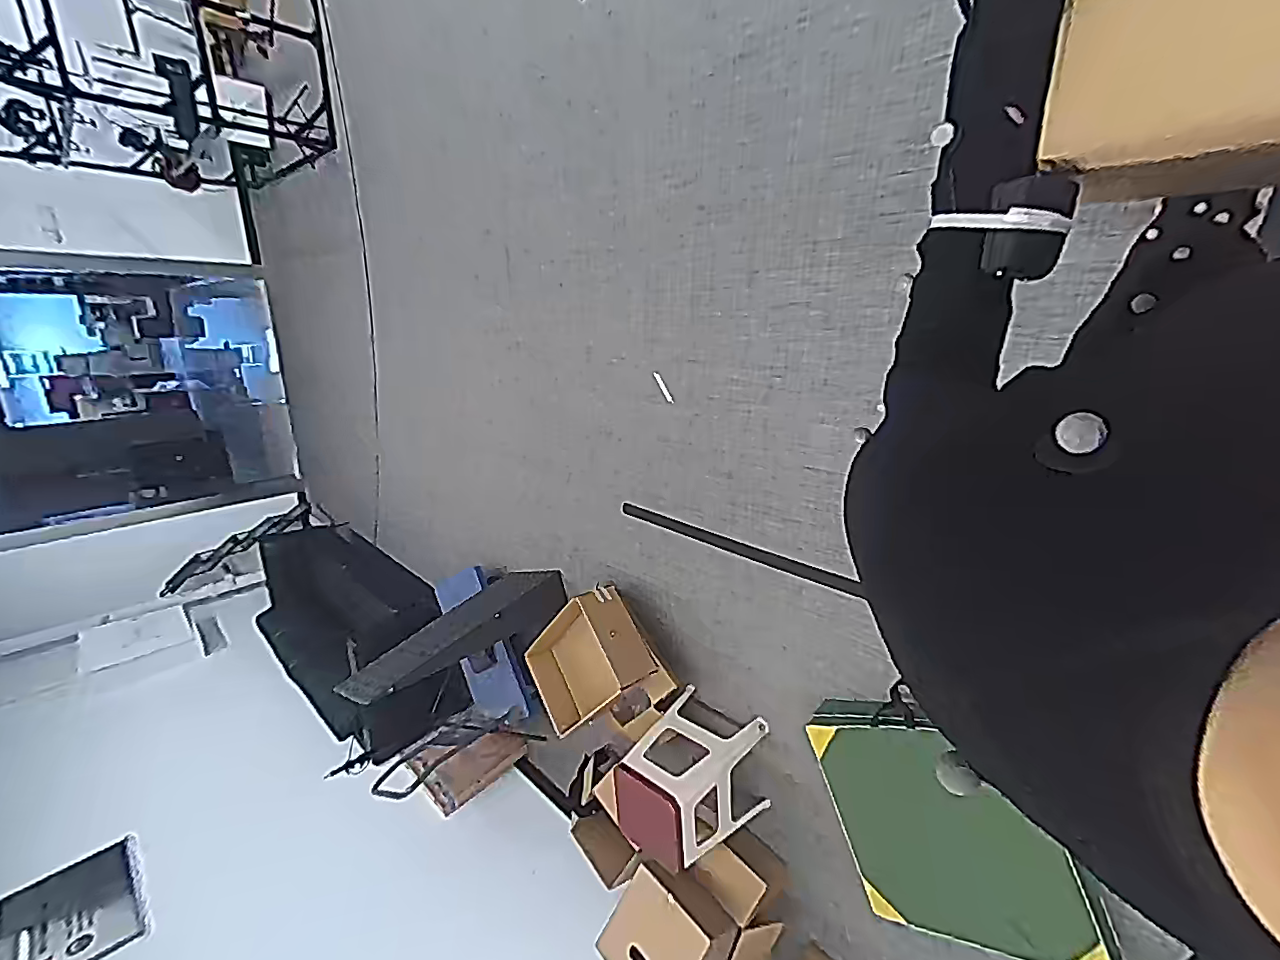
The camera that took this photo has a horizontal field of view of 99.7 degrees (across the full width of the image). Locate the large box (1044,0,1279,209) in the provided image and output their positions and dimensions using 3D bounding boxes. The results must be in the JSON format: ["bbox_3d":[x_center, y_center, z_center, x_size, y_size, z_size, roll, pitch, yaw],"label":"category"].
[{"bbox_3d":[0.526,-0.373,0.329,0.408,0.320,0.320,12,116,38],"label":"large box"}]
